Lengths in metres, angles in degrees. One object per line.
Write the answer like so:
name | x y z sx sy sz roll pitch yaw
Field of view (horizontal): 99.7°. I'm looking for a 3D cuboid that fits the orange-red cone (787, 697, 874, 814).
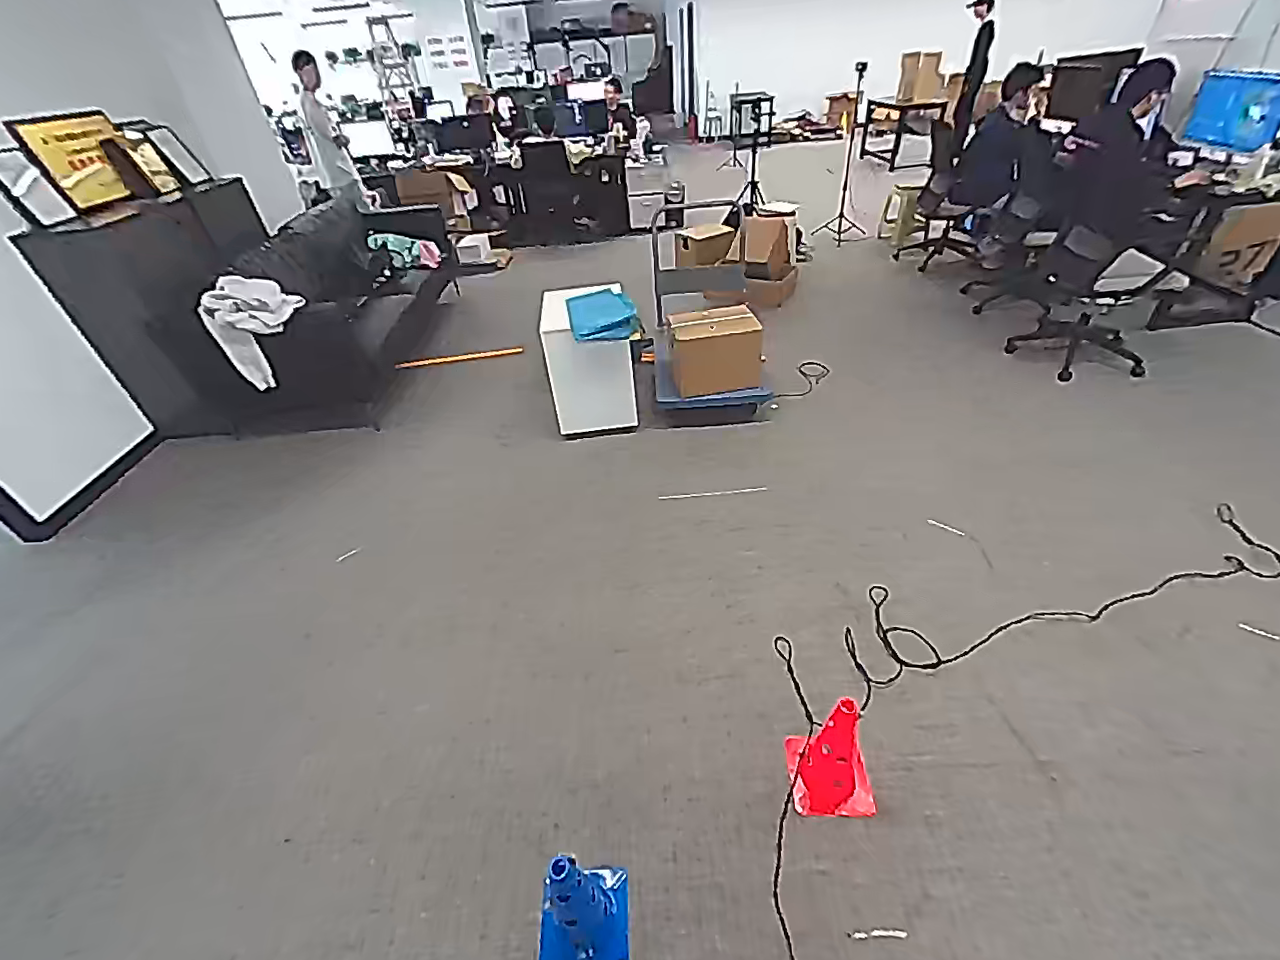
orange-red cone | 0.480 0.640 1.318 0.198 0.360 0.199 -2 40 6
